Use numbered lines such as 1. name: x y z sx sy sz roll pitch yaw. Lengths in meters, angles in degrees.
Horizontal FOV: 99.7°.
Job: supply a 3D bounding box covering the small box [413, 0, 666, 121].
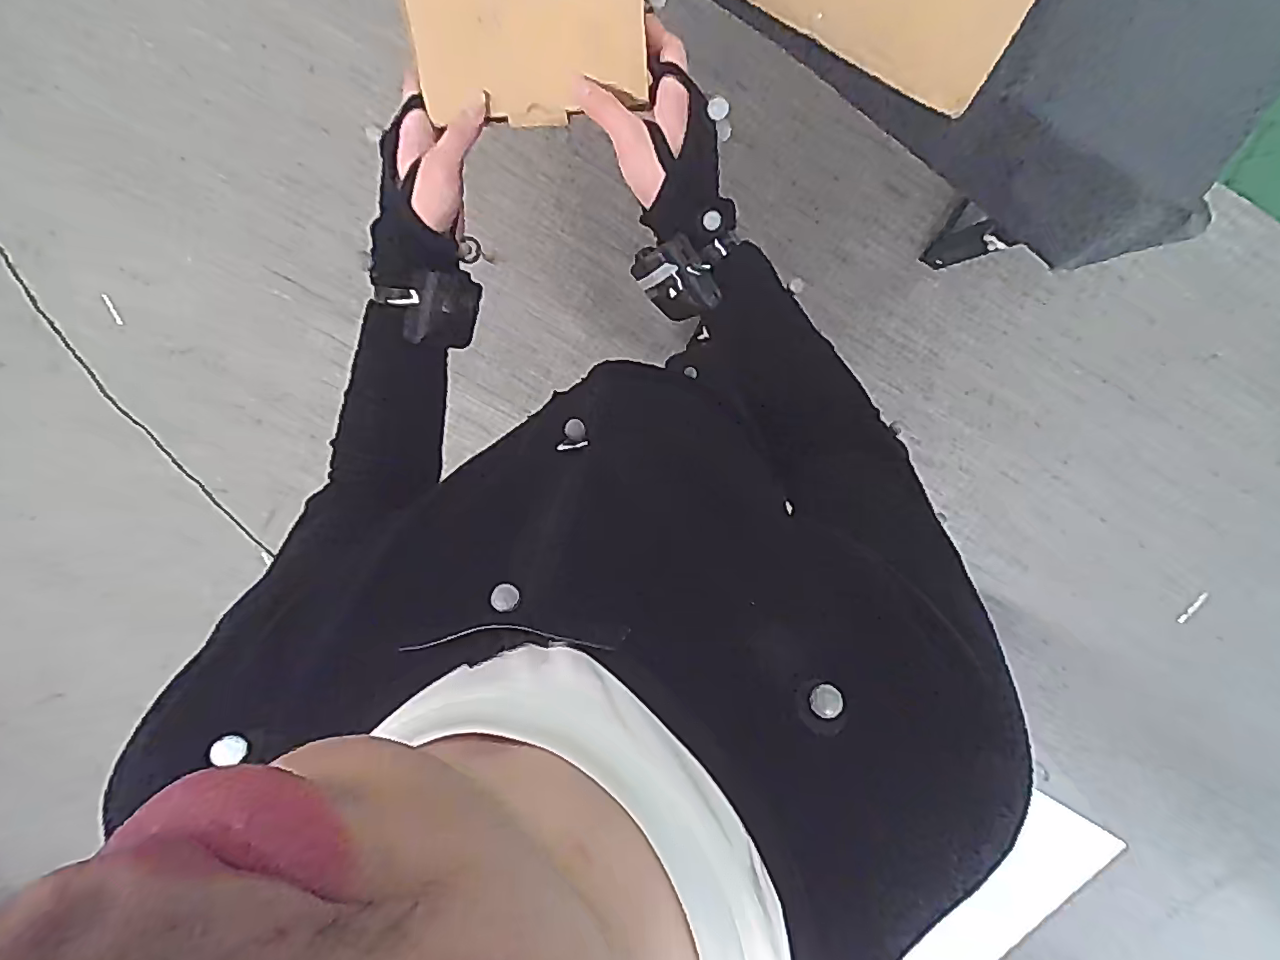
1. small box: -0.070 -0.391 0.418 0.168 0.176 0.179 -3 122 7
